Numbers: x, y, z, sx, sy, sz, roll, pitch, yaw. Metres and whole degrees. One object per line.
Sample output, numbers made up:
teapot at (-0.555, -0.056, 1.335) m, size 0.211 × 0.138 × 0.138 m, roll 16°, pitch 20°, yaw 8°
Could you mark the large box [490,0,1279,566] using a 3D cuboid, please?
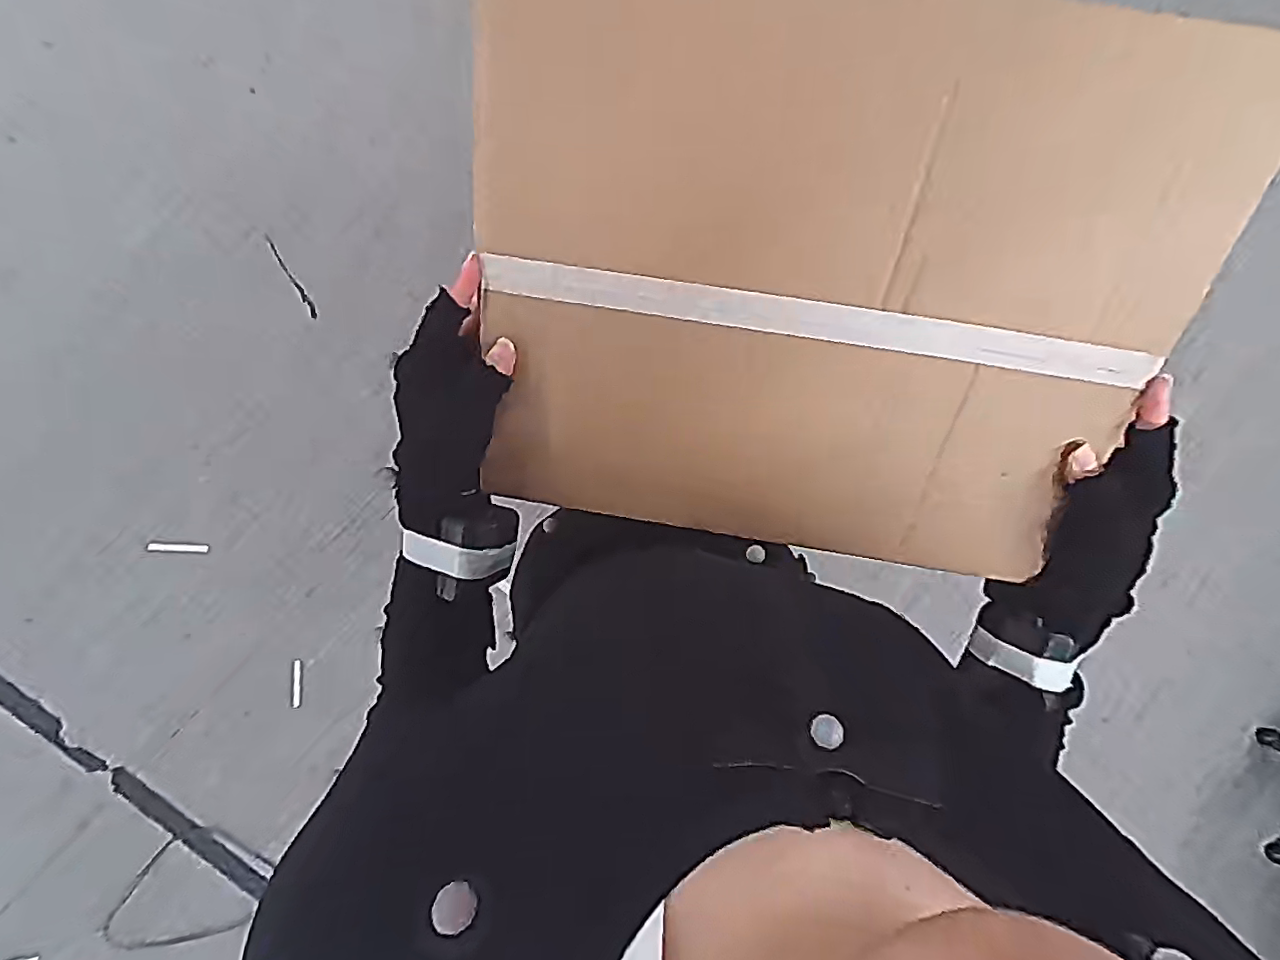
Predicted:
large box at (0.114, -0.166, 0.462) m, size 0.408 × 0.320 × 0.320 m, roll 10°, pitch 119°, yaw 1°
